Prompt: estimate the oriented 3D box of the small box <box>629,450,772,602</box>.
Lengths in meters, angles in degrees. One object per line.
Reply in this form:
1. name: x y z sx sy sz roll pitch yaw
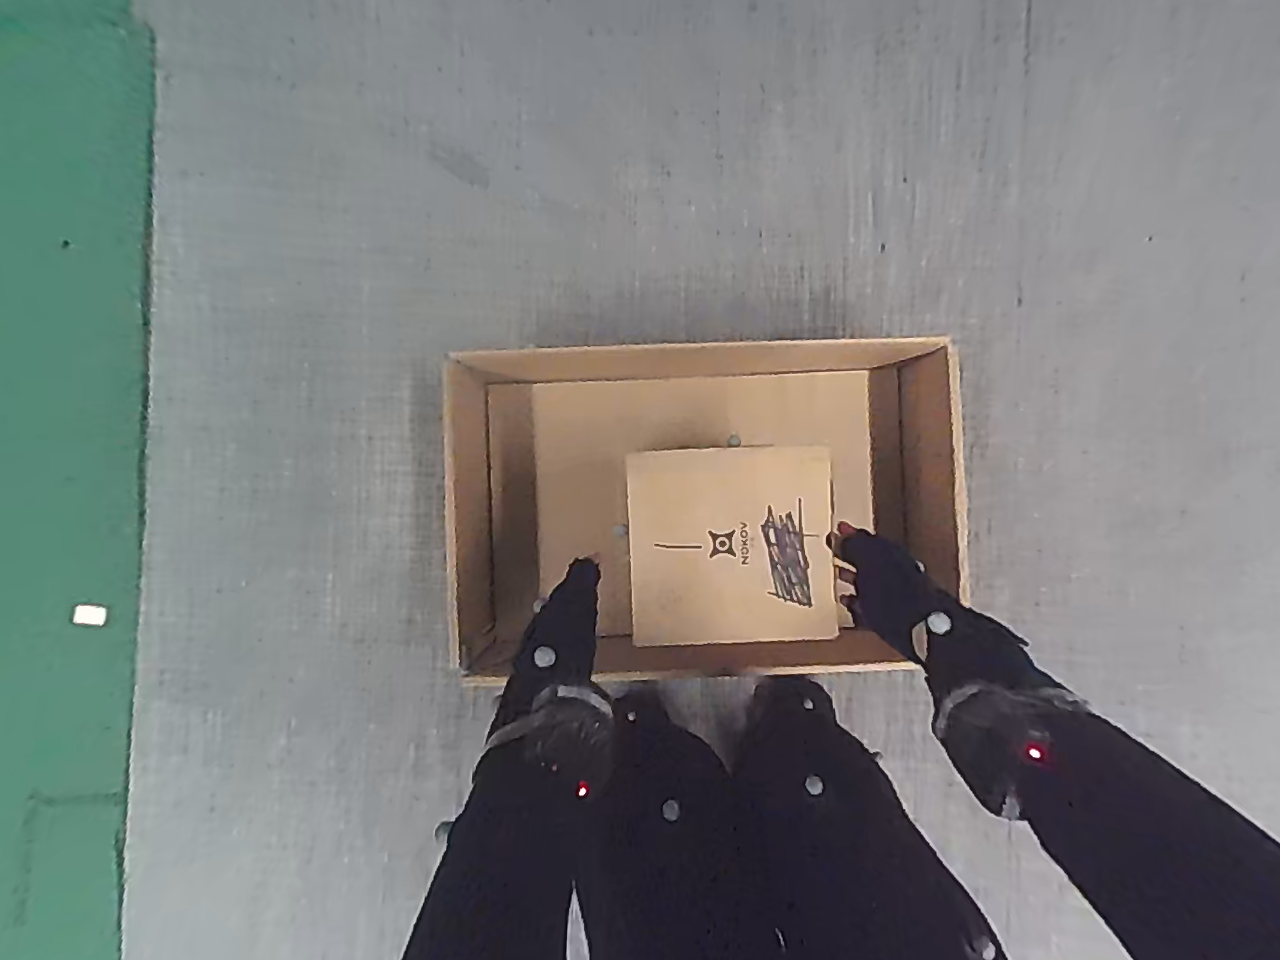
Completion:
1. small box: 0.071 0.054 0.708 0.168 0.176 0.179 -2 89 -1
